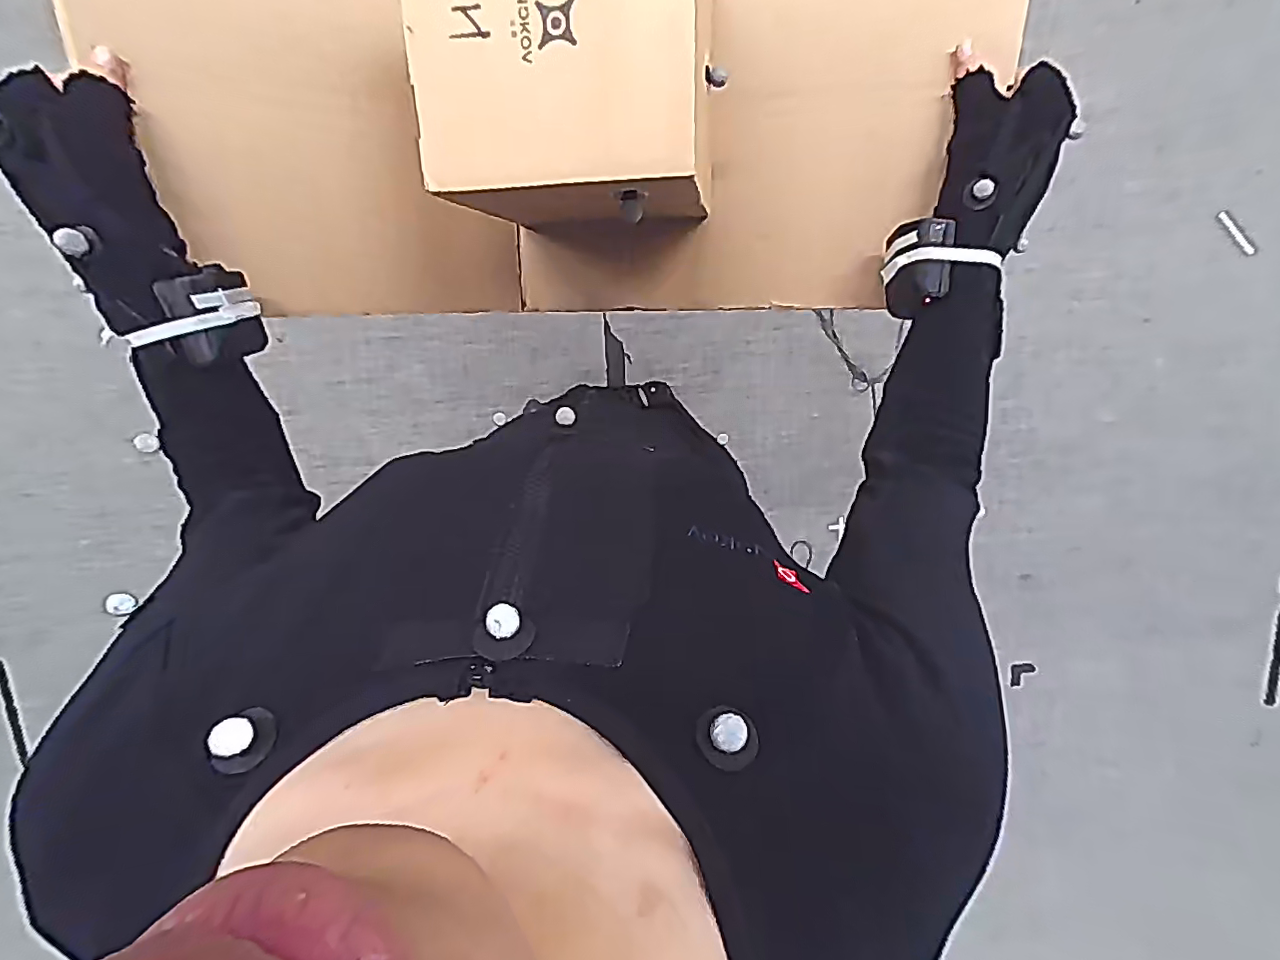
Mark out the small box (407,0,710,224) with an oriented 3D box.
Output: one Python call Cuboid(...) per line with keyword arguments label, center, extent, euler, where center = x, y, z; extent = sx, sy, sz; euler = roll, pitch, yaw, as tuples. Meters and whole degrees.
Cuboid(label="small box", center=(-0.041, -0.288, 0.392), extent=(0.179, 0.176, 0.168), euler=(2, 108, 10))
